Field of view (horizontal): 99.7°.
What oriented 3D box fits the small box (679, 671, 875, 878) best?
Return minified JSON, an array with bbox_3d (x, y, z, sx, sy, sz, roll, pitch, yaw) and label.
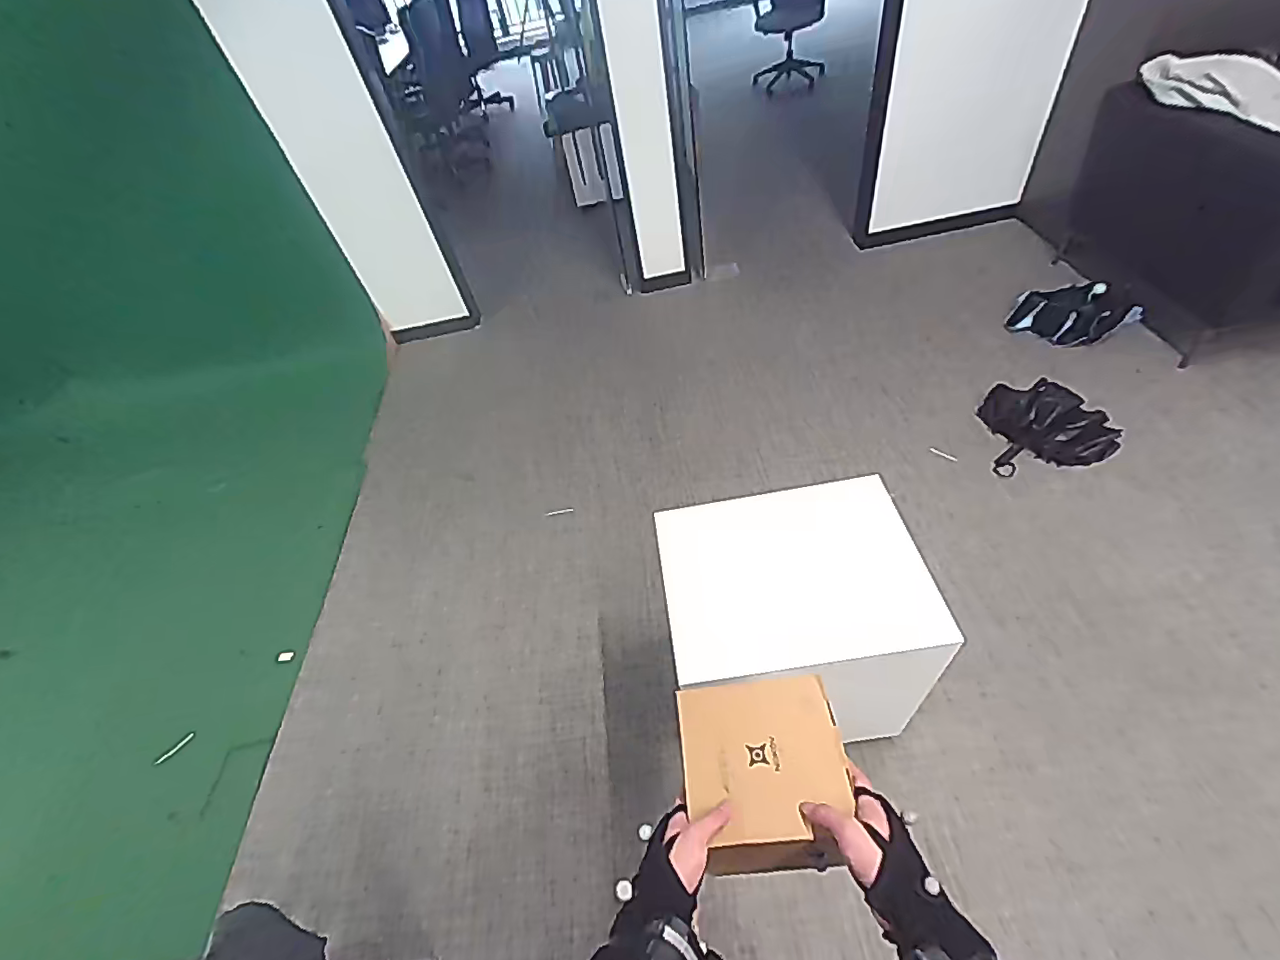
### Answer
[{"bbox_3d":[0.147,0.346,0.633,0.179,0.176,0.168,-9,44,4],"label":"small box"}]
